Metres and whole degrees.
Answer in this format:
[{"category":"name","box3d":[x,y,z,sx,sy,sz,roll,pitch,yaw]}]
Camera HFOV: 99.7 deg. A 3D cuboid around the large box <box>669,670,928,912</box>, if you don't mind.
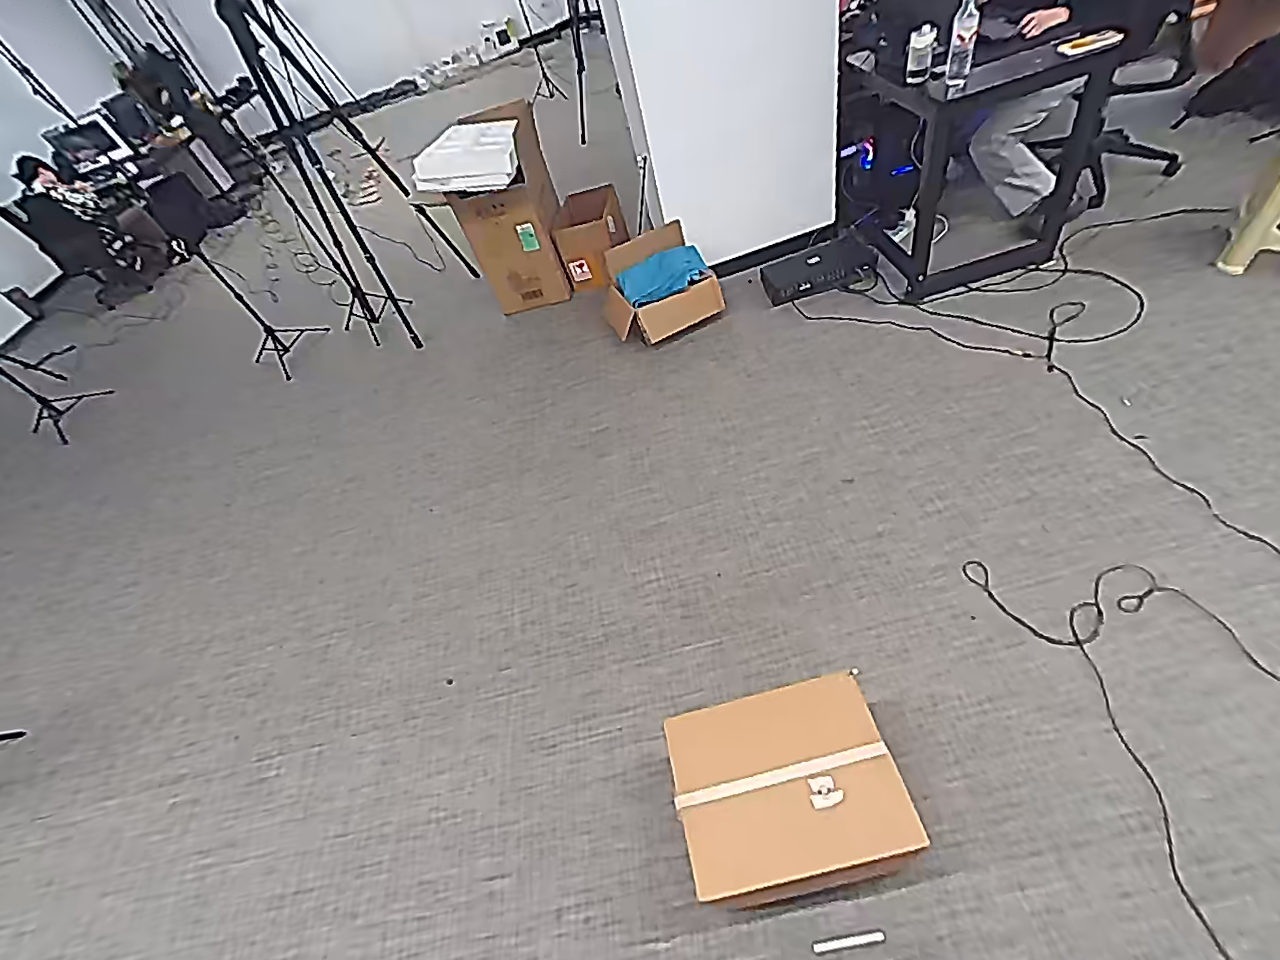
[{"category":"large box","box3d":[0.310,0.654,1.129,0.408,0.320,0.320,-17,47,4]}]
